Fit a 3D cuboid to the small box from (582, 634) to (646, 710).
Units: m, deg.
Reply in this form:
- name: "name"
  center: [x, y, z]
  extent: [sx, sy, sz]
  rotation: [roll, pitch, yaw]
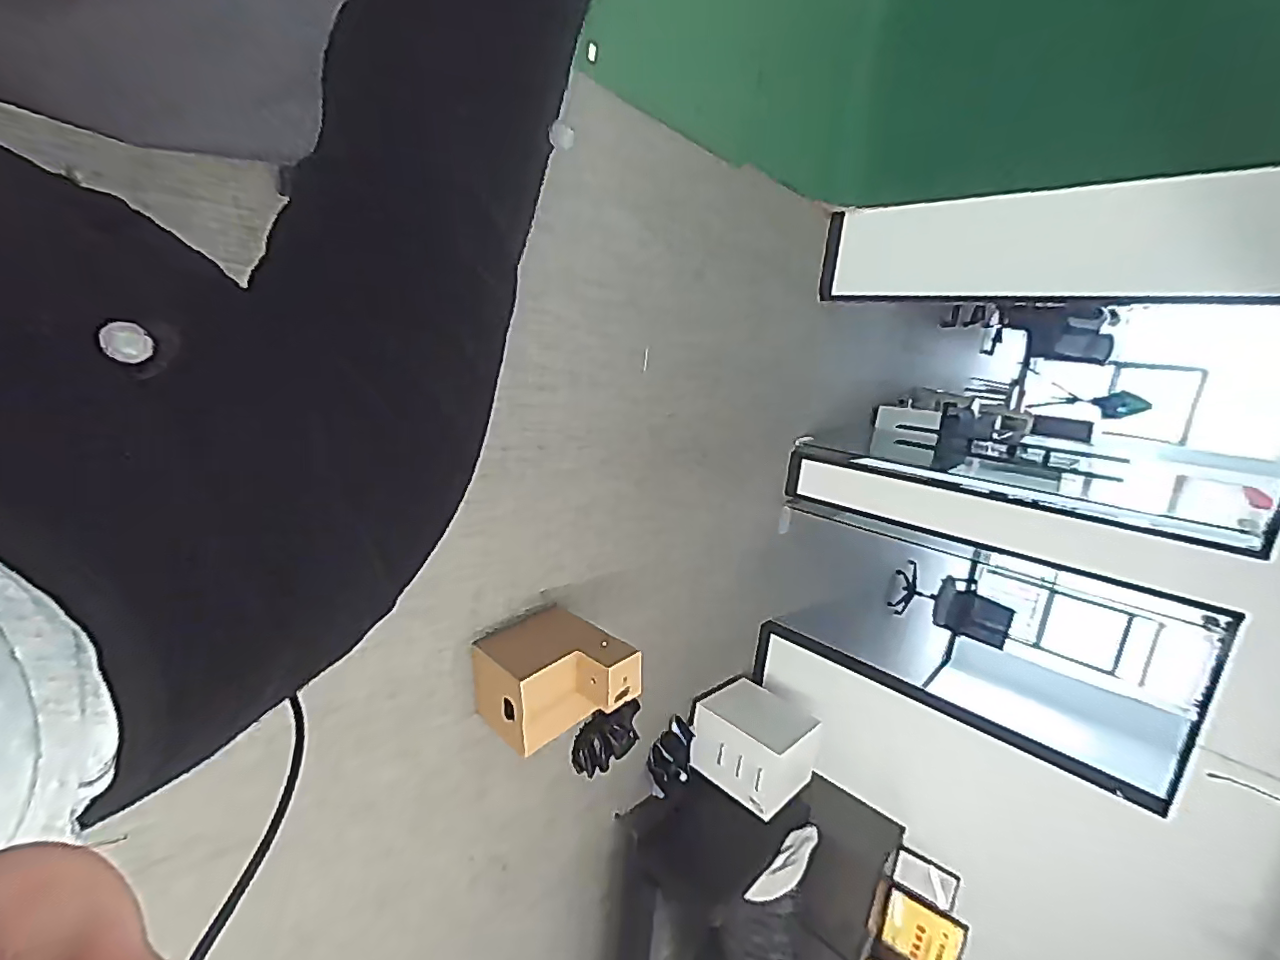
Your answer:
- name: "small box"
  center: [-0.095, 0.683, 1.941]
  extent: [0.168, 0.176, 0.179]
  rotation: [-14, 108, -46]
